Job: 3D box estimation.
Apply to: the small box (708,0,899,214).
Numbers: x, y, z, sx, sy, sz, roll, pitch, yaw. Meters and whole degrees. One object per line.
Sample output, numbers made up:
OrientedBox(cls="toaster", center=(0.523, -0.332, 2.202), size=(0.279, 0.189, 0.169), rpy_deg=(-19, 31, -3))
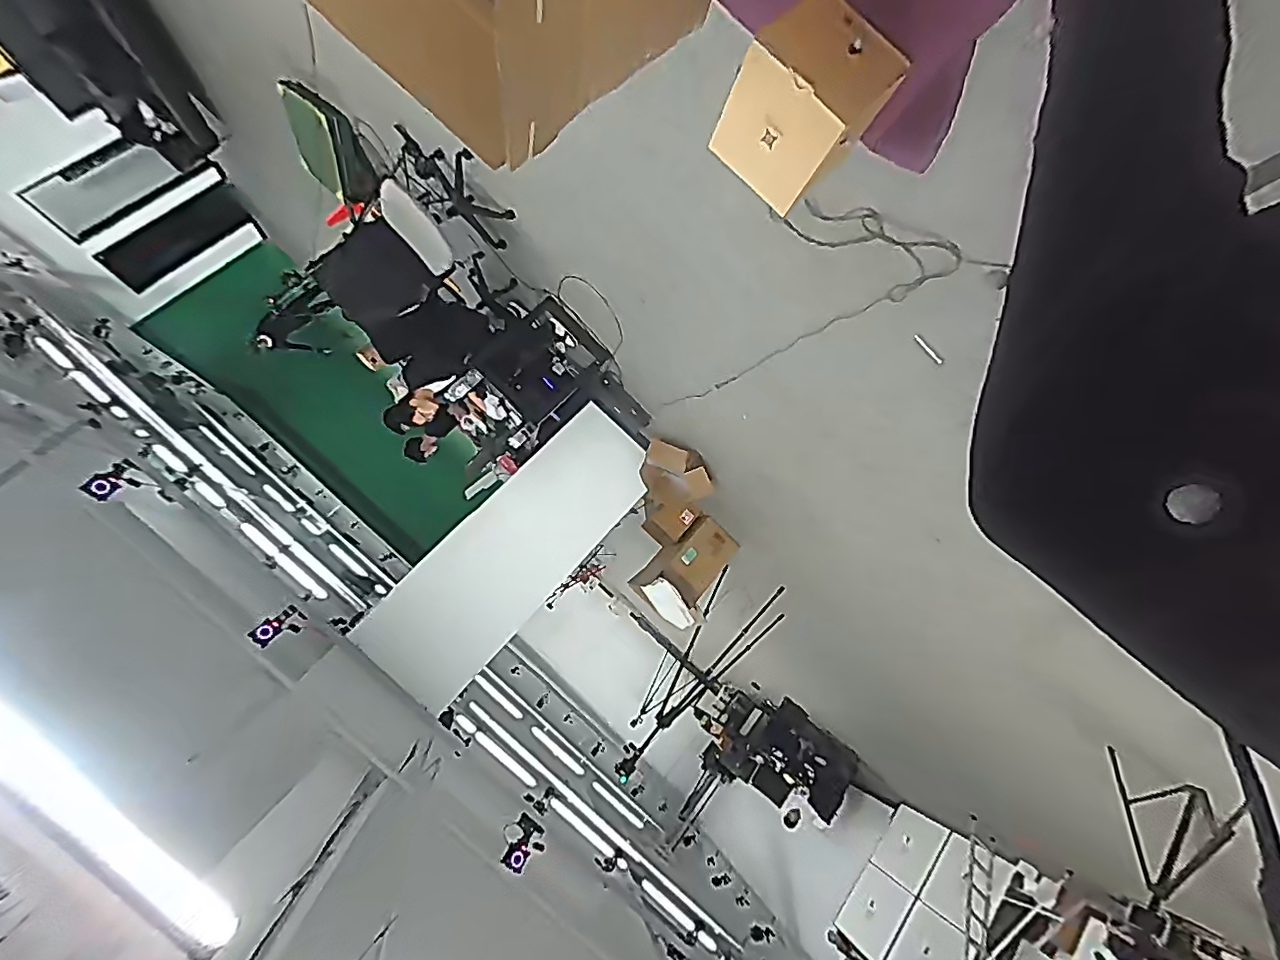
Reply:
OrientedBox(cls="small box", center=(0.234, -0.542, 0.788), size=(0.168, 0.176, 0.179), rpy_deg=(43, 161, 0))
